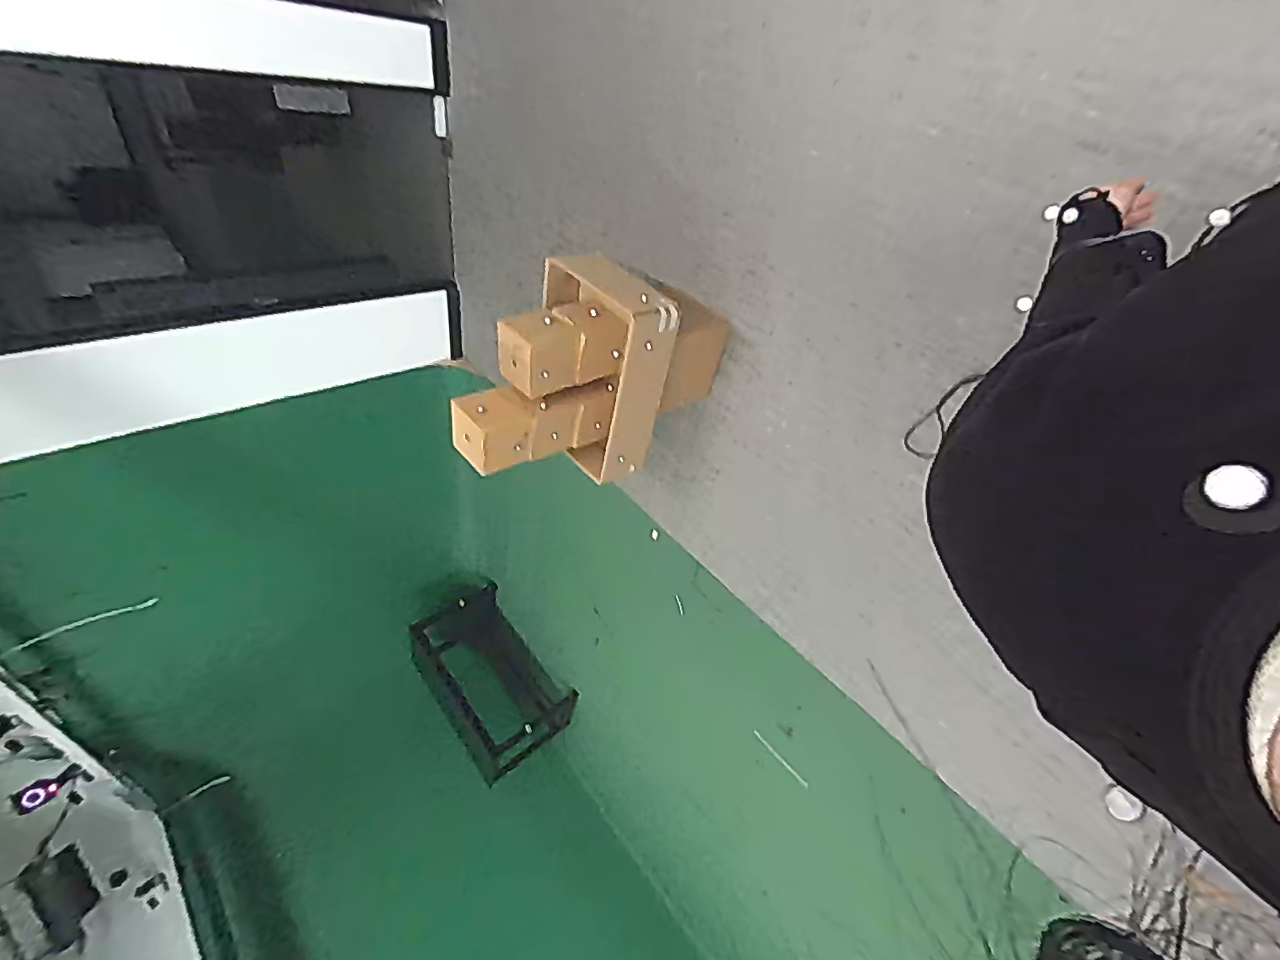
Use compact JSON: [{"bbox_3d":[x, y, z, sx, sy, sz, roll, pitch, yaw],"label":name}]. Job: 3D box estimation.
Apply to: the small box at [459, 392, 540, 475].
[{"bbox_3d":[-0.419,-0.146,1.609,0.179,0.176,0.168,40,136,29],"label":"small box"}]
